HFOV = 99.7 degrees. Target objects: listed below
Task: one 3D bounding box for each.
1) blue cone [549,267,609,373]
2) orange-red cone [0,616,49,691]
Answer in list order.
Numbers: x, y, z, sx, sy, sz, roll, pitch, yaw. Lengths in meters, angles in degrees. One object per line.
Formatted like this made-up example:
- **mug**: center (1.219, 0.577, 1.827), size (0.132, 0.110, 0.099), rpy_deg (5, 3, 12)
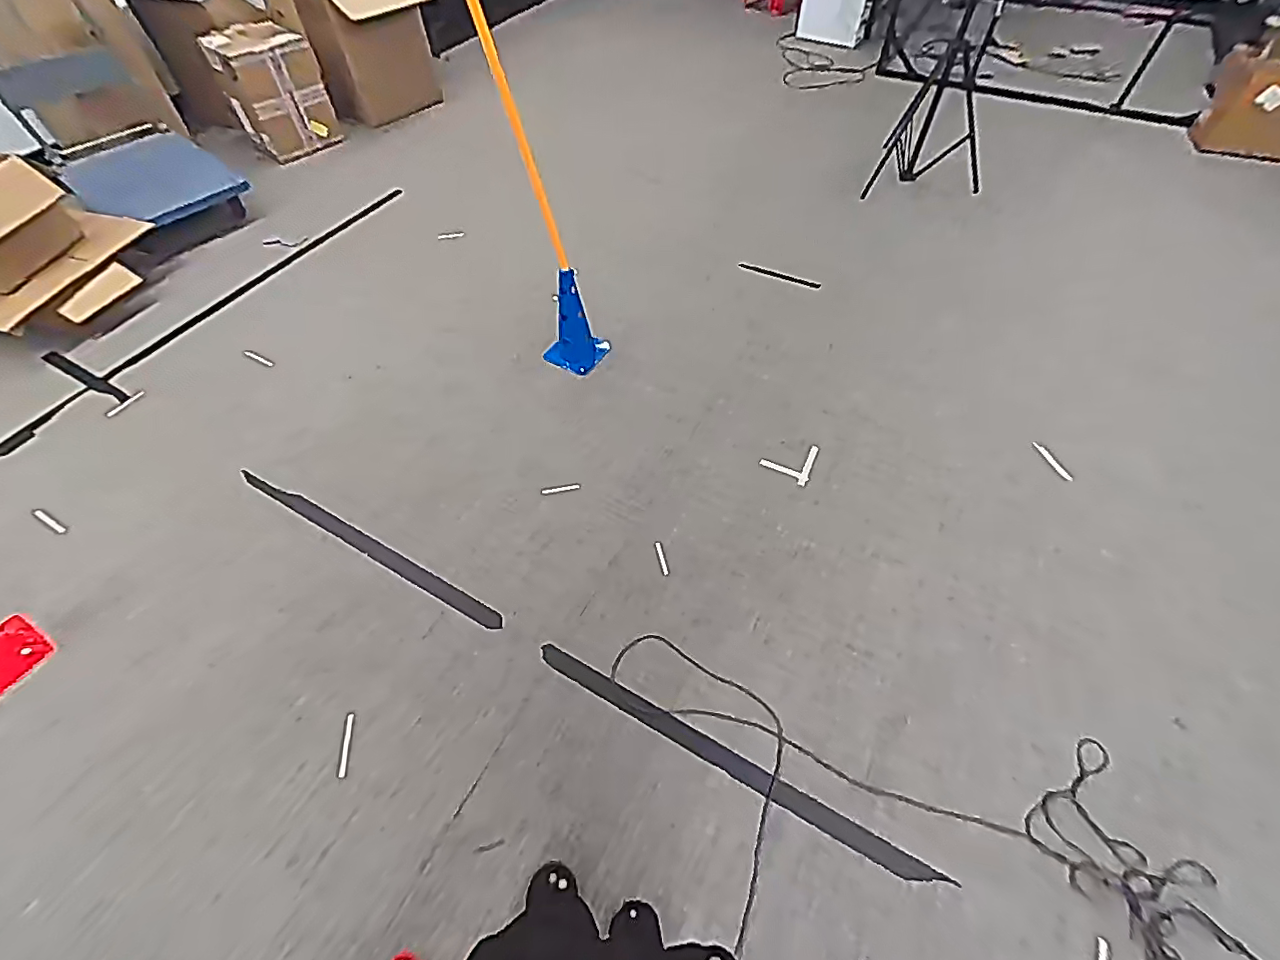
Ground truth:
- **blue cone**: center (-0.236, -0.586, 1.930), size (0.192, 0.380, 0.193), rpy_deg (27, 60, 18)
- **orange-red cone**: center (-1.663, 0.369, 1.250), size (0.199, 0.360, 0.198), rpy_deg (26, 59, 19)
